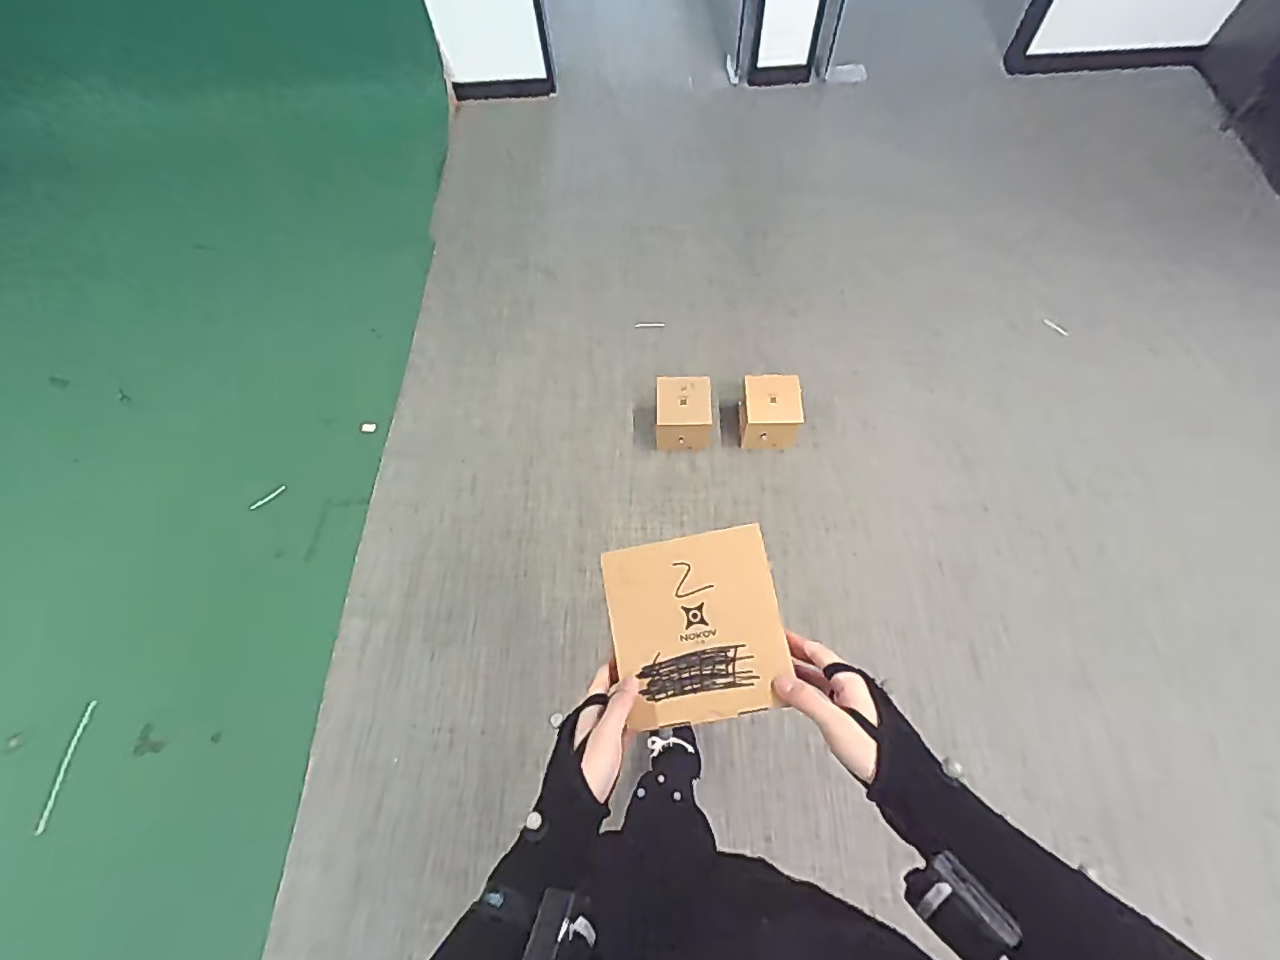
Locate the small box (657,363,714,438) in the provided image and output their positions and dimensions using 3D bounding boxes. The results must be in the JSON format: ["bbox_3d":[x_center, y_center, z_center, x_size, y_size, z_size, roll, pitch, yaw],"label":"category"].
[{"bbox_3d":[0.141,-0.242,1.678,0.168,0.176,0.179,2,66,3],"label":"small box"}]

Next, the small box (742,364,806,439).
[{"bbox_3d":[0.408,-0.237,1.667,0.168,0.176,0.179,1,66,3],"label":"small box"}]
